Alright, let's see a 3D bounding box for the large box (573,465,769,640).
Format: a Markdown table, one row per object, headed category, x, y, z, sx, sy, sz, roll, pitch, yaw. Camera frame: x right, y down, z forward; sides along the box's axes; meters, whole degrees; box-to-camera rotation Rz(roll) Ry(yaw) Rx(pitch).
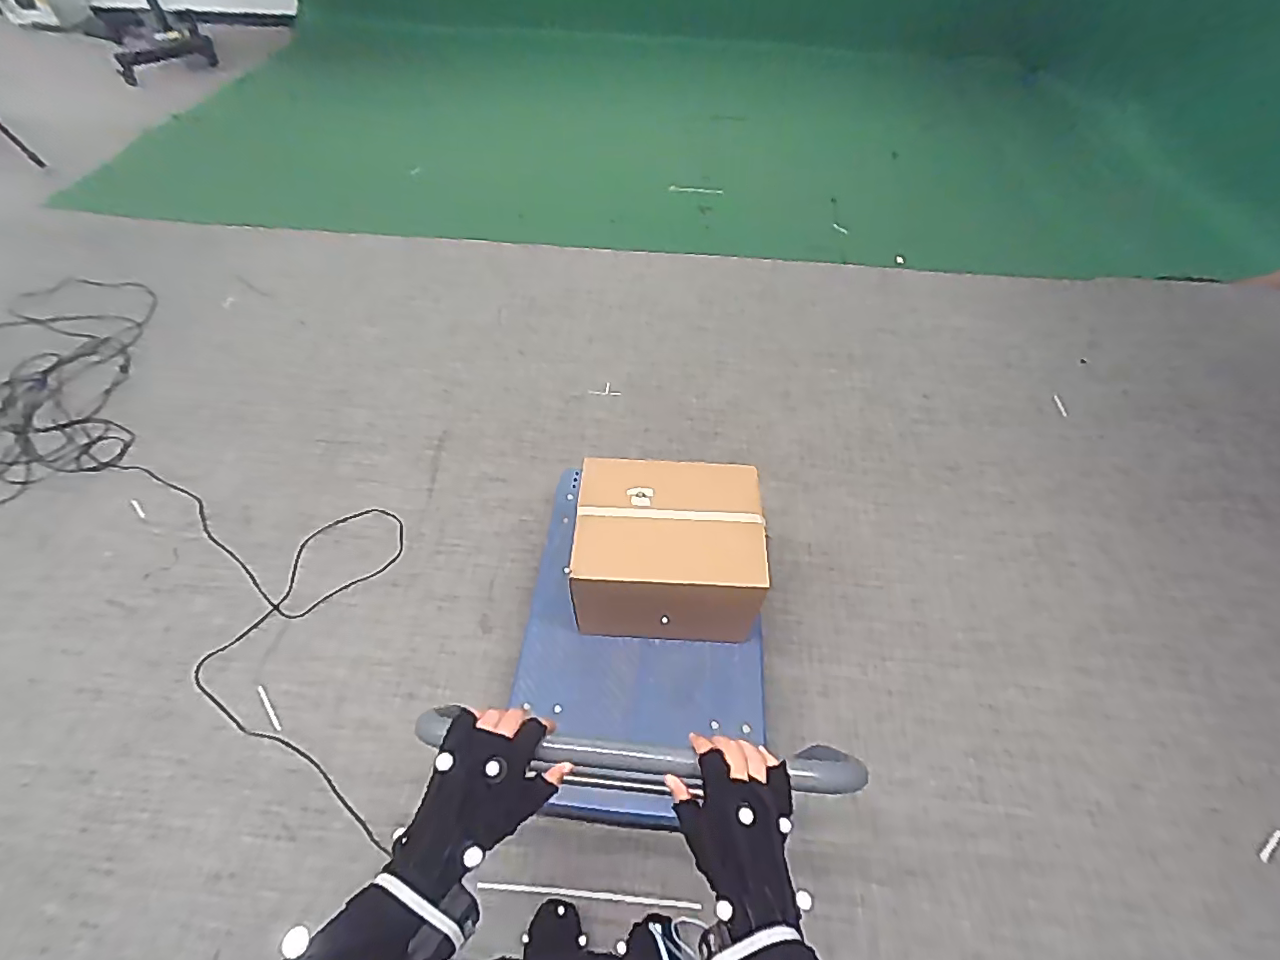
| category | x | y | z | sx | sy | sz | roll | pitch | yaw |
| --- | --- | --- | --- | --- | --- | --- | --- | --- | --- |
| large box | 0.064 | 0.180 | 1.294 | 0.408 | 0.320 | 0.320 | 2 | 52 | 0 |
